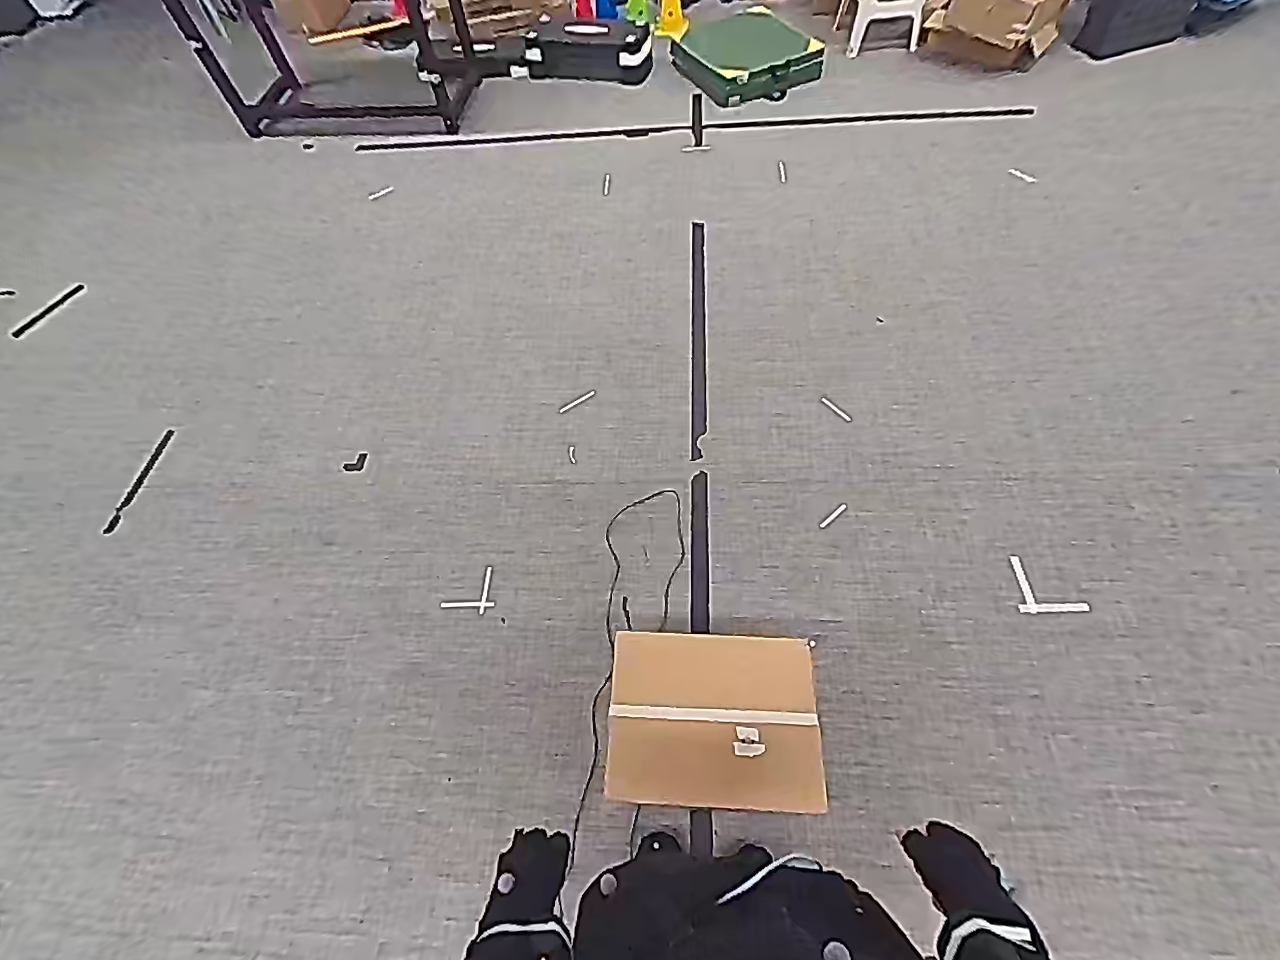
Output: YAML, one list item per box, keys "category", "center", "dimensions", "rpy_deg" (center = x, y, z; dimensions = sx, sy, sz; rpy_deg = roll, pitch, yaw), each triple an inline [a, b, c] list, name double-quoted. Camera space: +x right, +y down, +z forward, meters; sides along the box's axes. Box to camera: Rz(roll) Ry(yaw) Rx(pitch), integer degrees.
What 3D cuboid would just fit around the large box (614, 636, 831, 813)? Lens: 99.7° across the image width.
- category: "large box"
  center: [0.159, 0.543, 1.187]
  dimensions: [0.408, 0.320, 0.320]
  rpy_deg: [1, 59, 3]
